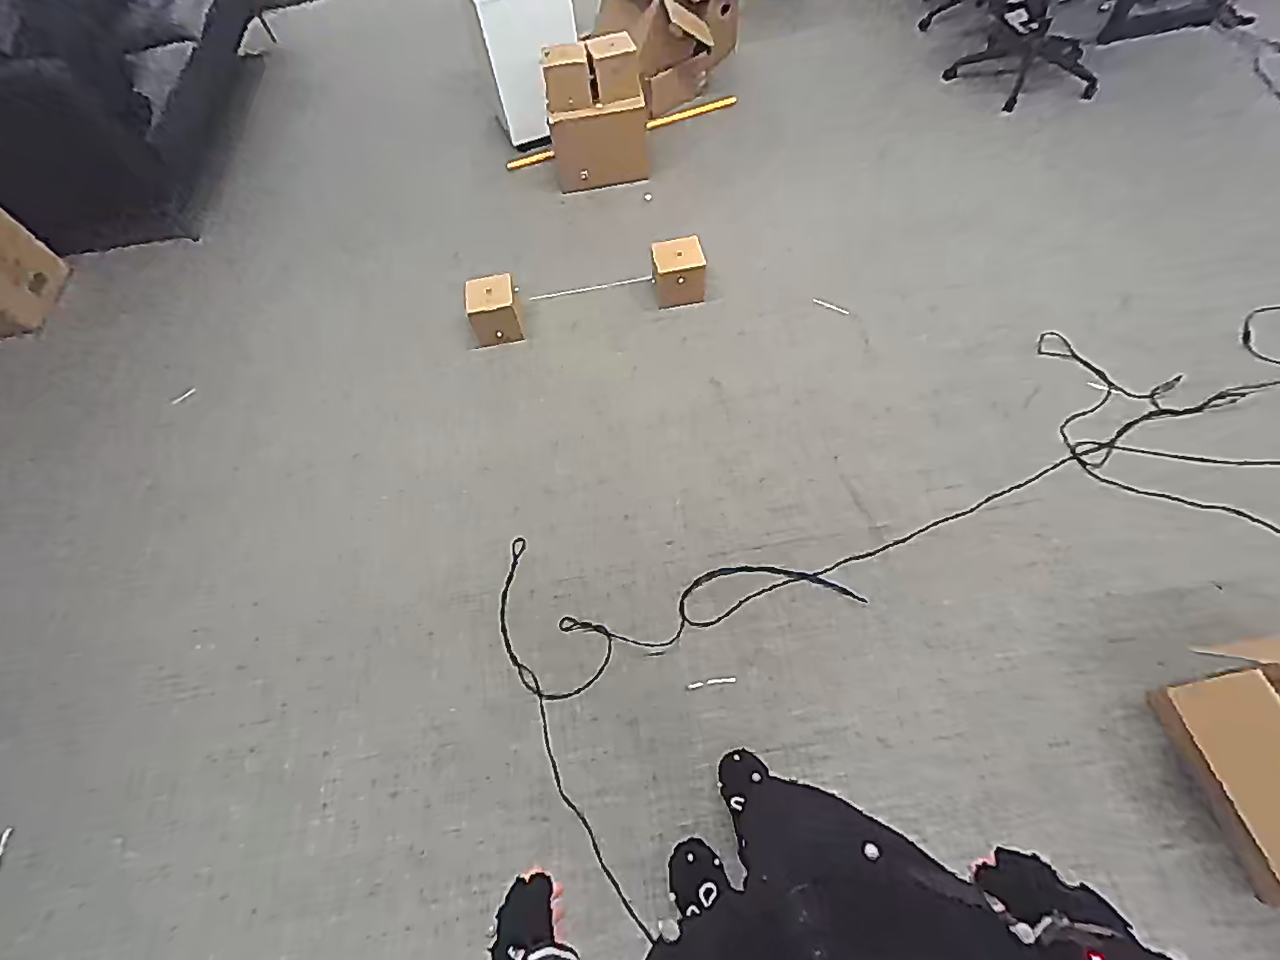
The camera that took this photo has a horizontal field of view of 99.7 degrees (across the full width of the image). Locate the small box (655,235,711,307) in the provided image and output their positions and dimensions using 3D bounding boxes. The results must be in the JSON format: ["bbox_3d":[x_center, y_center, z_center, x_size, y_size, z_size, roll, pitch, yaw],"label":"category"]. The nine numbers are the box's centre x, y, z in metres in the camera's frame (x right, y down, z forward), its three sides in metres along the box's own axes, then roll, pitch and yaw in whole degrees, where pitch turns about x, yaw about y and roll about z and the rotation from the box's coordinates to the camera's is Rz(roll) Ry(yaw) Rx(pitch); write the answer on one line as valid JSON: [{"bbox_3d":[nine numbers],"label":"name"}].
[{"bbox_3d":[0.156,-0.765,1.991,0.179,0.176,0.168,-11,60,0],"label":"small box"}]

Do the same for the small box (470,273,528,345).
[{"bbox_3d":[-0.514,-0.622,1.975,0.168,0.176,0.179,-11,60,0],"label":"small box"}]
